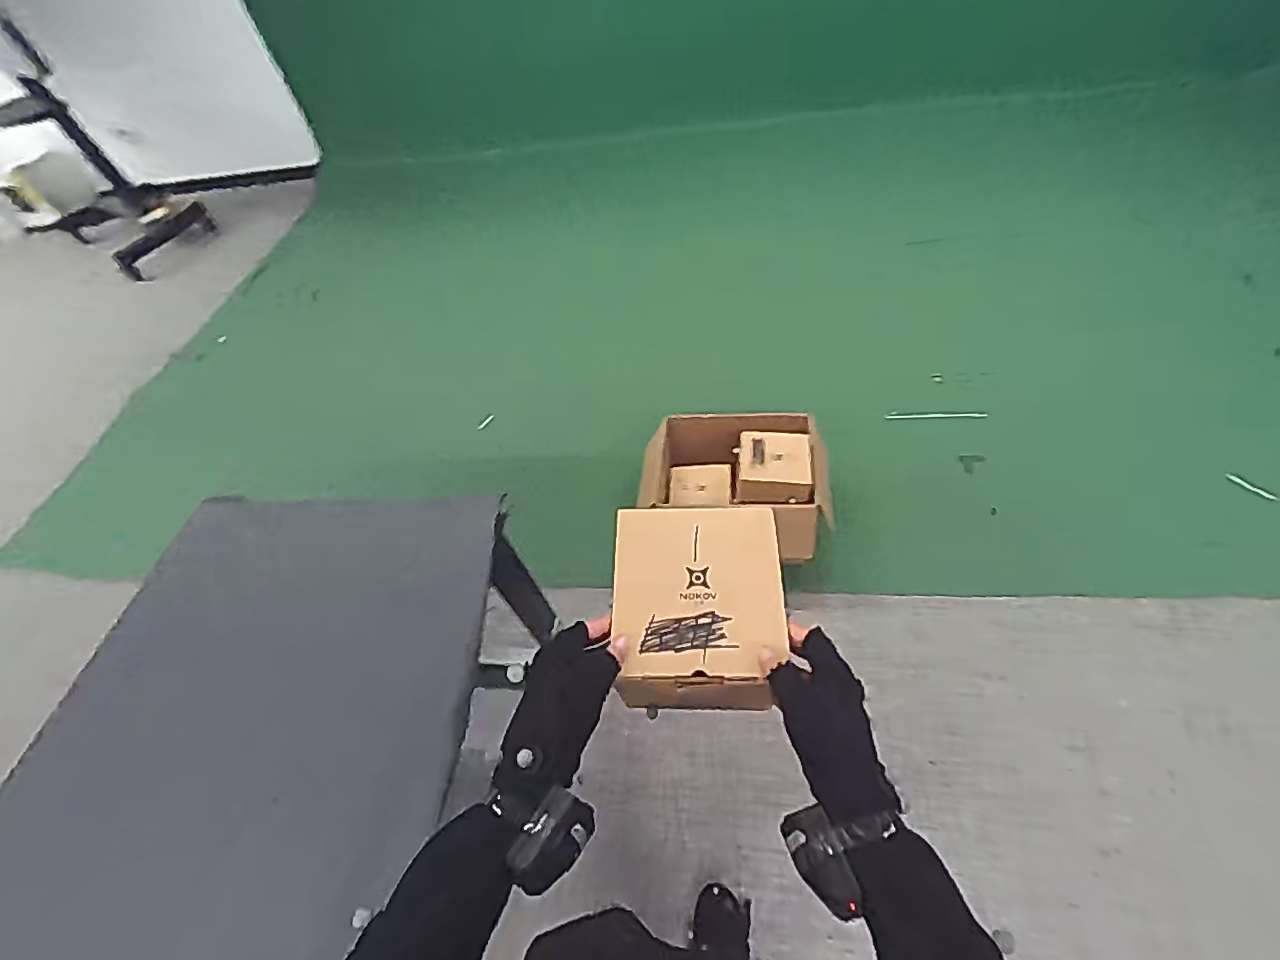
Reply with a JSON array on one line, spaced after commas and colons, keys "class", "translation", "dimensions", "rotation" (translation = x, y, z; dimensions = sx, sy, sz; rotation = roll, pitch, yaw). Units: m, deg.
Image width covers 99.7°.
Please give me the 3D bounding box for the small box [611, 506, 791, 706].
[{"class": "small box", "translation": [0.065, 0.143, 0.596], "dimensions": [0.168, 0.176, 0.179], "rotation": [0, 58, 5]}]
